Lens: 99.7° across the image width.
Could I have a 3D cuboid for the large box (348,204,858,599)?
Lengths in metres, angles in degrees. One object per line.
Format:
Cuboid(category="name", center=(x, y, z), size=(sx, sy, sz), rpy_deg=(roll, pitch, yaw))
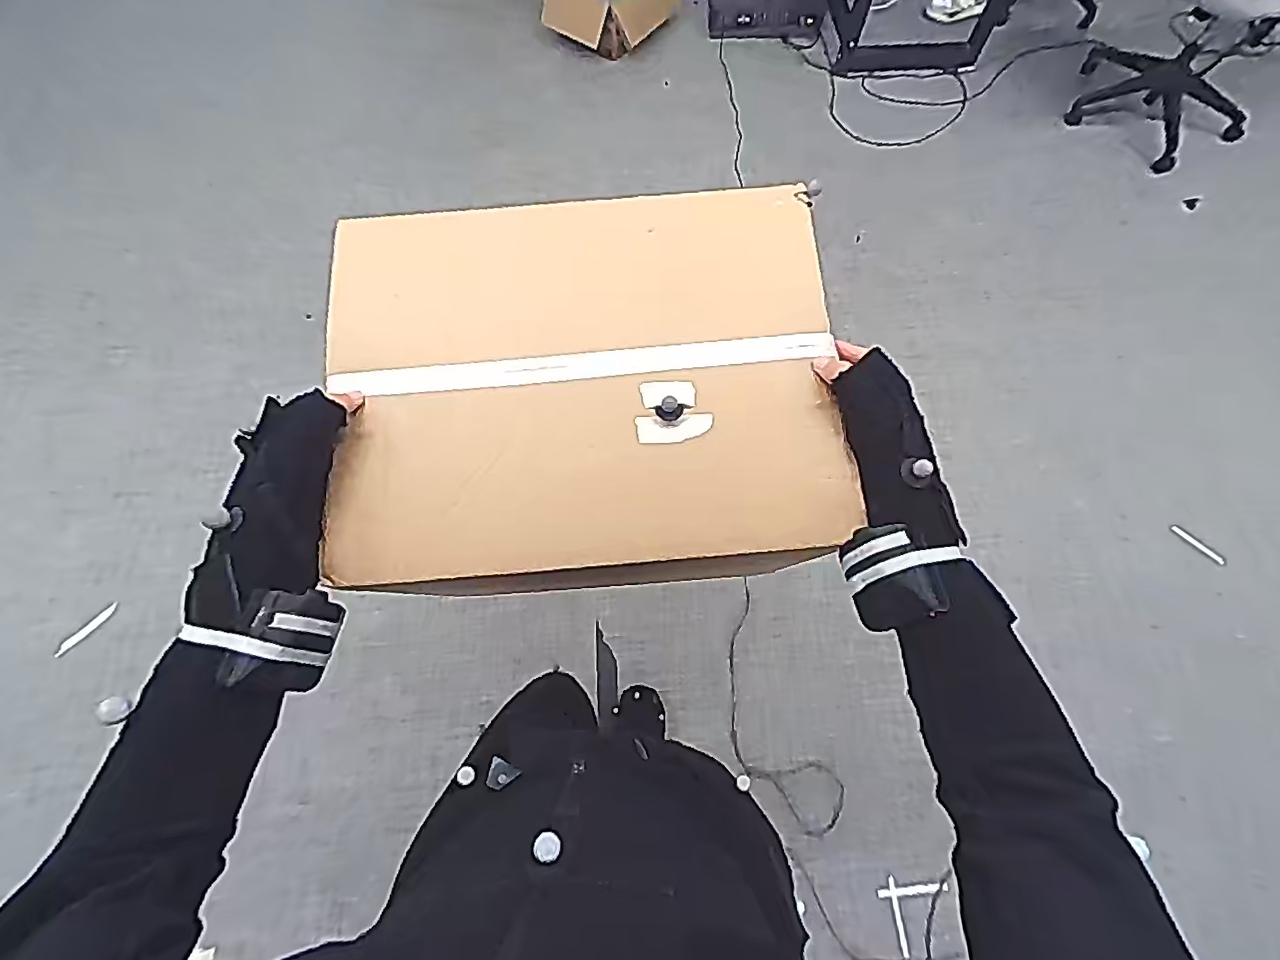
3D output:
Cuboid(category="large box", center=(-0.040, -0.049, 0.596), size=(0.408, 0.320, 0.320), rpy_deg=(-5, 76, -1))
